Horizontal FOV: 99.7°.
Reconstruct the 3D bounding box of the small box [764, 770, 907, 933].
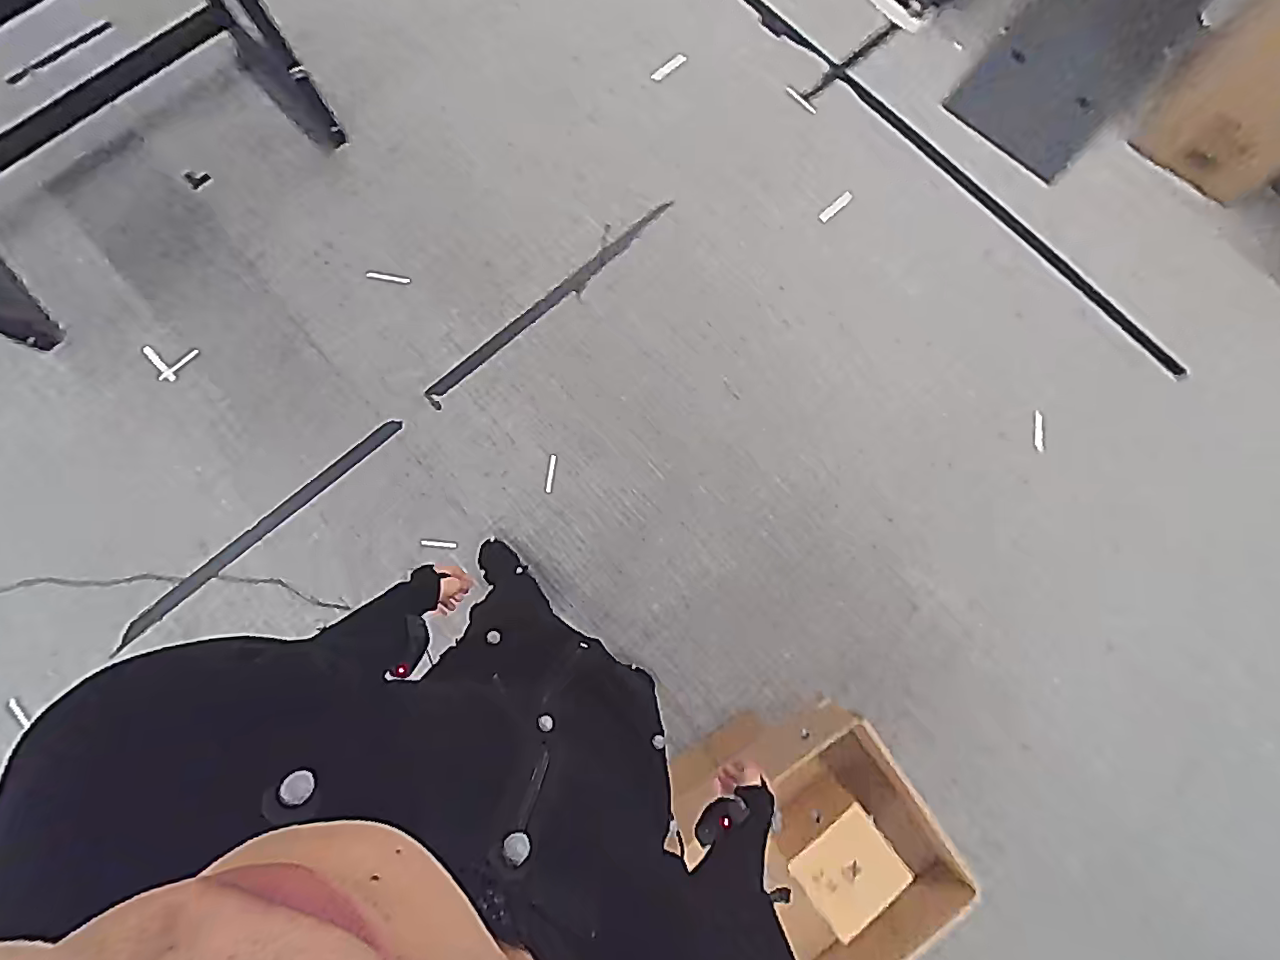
[{"bbox_3d":[0.376,0.719,1.074,0.179,0.176,0.168,-36,84,-7],"label":"small box"}]
